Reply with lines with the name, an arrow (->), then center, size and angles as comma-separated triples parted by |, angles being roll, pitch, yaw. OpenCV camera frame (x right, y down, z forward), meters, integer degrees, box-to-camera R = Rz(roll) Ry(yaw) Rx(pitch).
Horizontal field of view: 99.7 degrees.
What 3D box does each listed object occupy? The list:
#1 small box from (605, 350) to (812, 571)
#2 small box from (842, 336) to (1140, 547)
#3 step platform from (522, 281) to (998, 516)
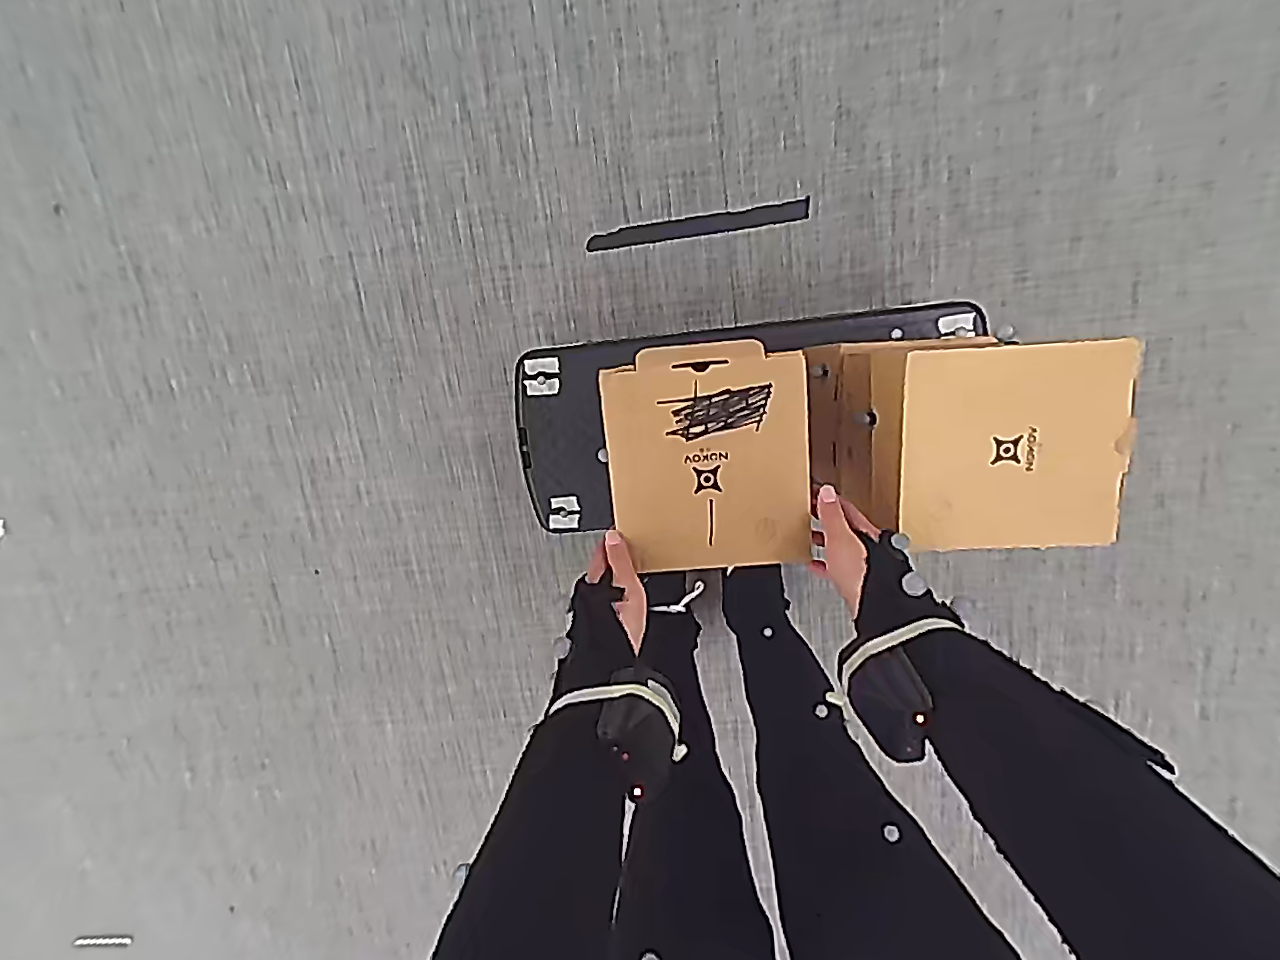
small box -> 0.062, -0.027, 0.523 | 0.168, 0.176, 0.179 | -4, 102, 5
small box -> 0.299, -0.042, 0.506 | 0.179, 0.176, 0.168 | -3, 102, 4
step platform -> 0.167, -0.119, 0.843 | 0.684, 0.204, 0.286 | -6, 101, 6
